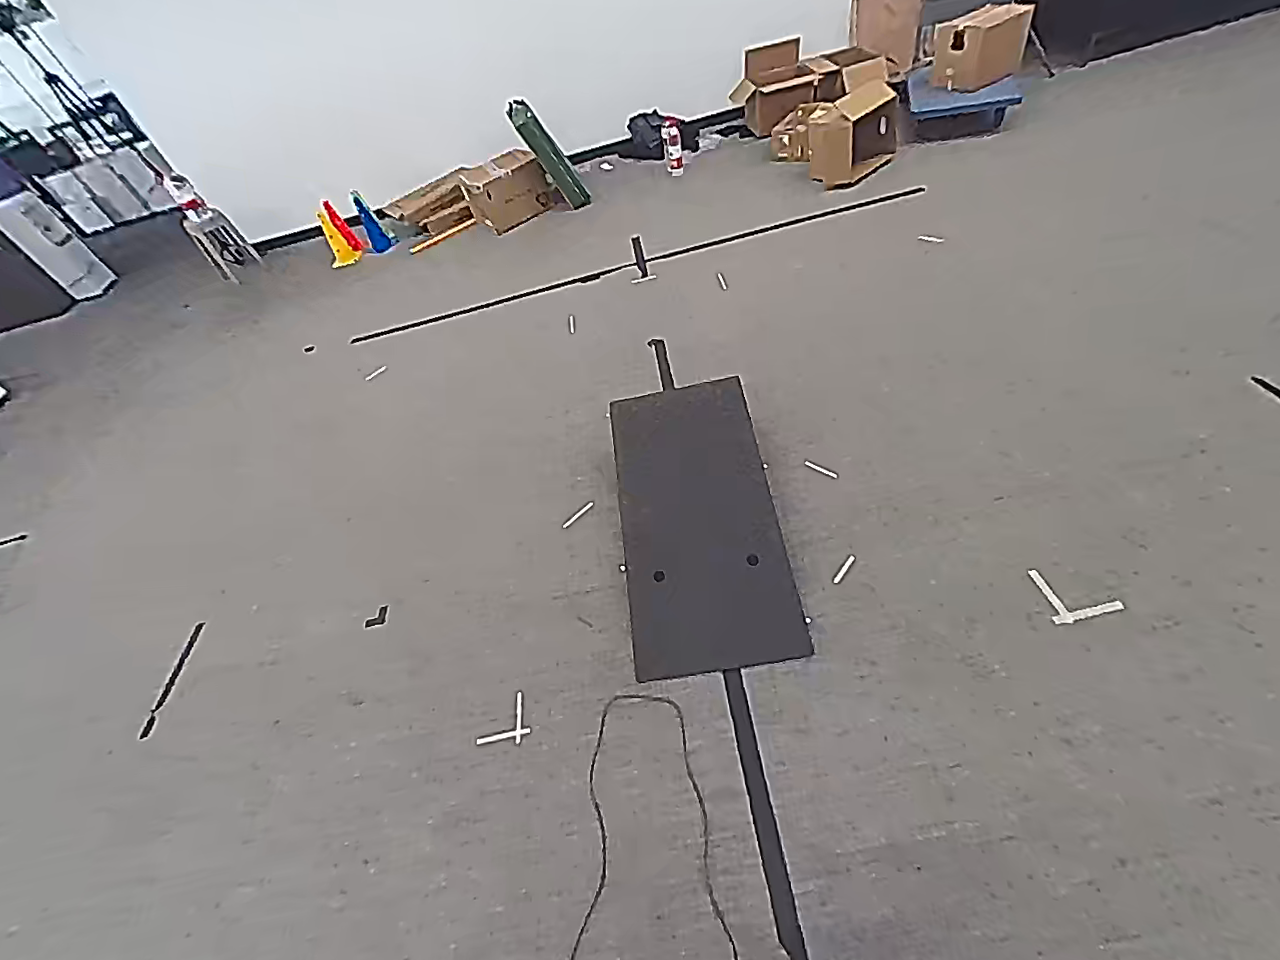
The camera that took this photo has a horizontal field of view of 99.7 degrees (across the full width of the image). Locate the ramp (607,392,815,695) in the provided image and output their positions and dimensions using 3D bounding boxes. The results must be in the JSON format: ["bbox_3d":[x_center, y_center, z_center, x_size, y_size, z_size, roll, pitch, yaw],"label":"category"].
[{"bbox_3d":[0.178,0.138,1.750,0.509,0.206,0.991,-13,46,4],"label":"ramp"}]
